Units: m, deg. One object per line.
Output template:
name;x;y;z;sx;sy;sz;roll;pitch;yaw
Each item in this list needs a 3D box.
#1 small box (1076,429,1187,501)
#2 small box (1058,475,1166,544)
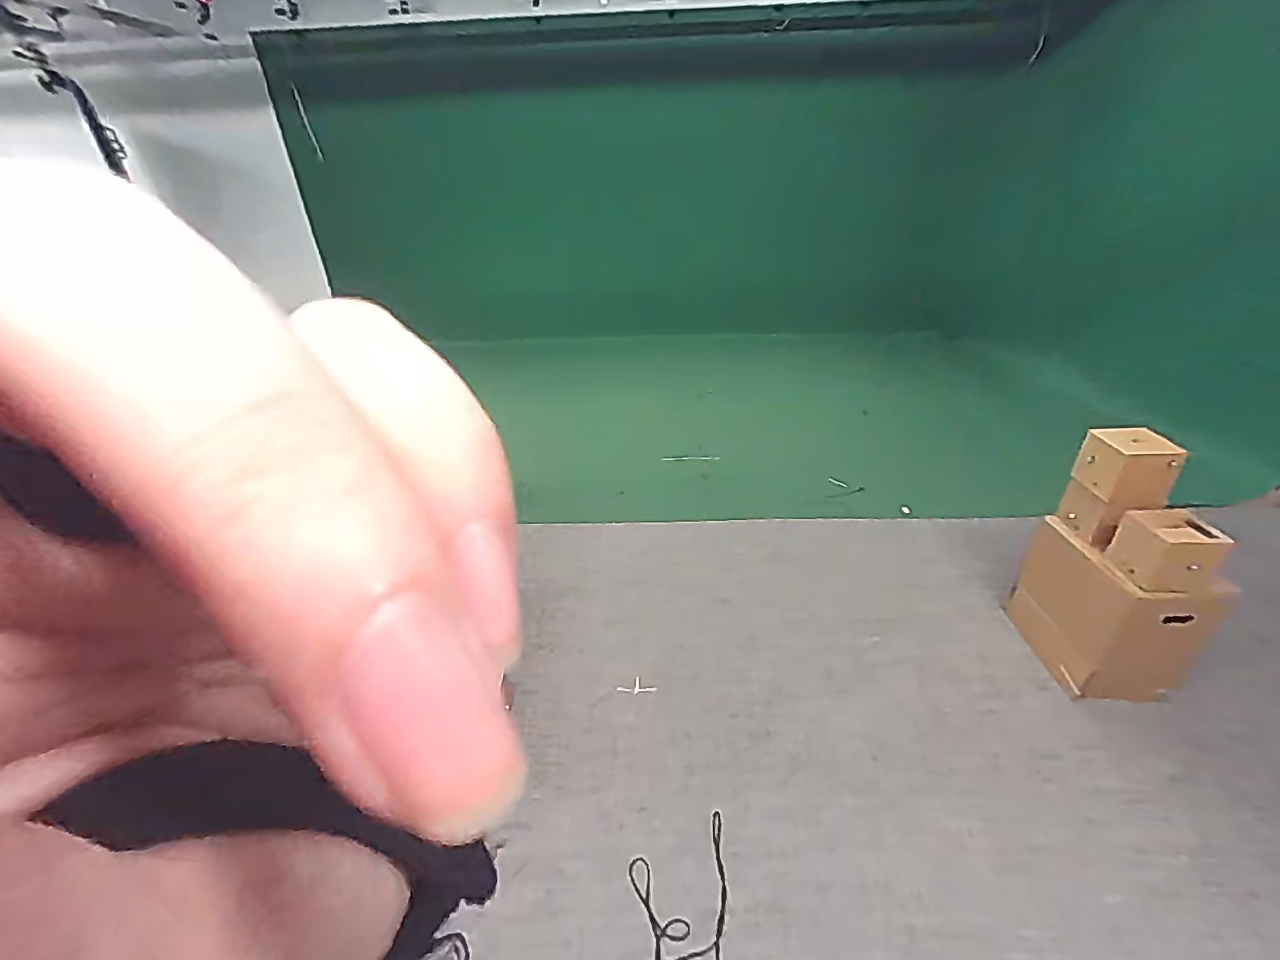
small box;1.487;-0.044;1.656;0.179;0.176;0.168;-1;32;2
small box;1.506;0.094;1.740;0.179;0.176;0.168;-2;32;4
